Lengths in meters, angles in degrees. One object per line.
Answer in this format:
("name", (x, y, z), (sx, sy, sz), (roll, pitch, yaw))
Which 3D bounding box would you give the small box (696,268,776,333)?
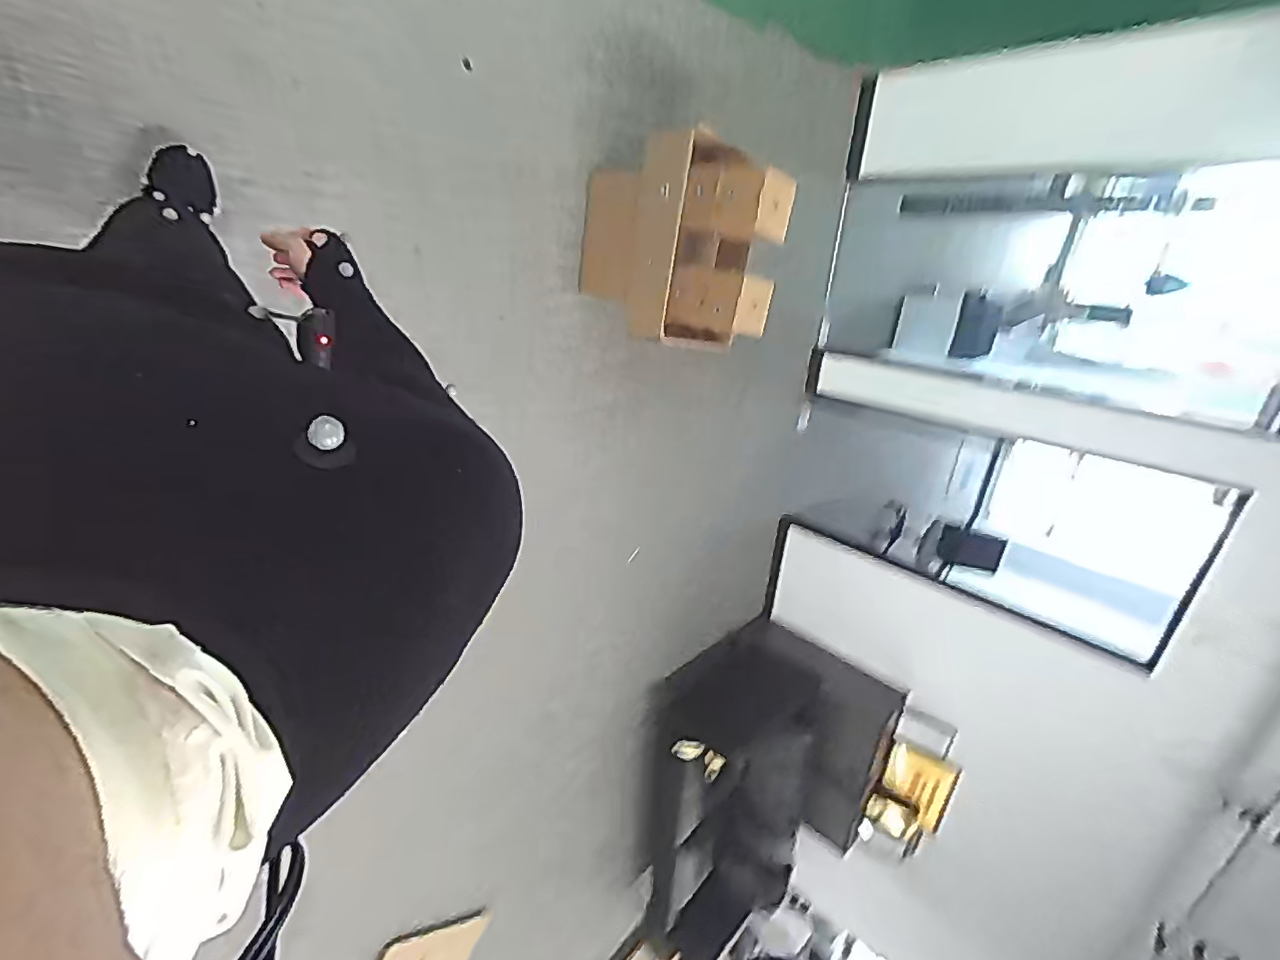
("small box", (0.300, -0.571, 1.714), (0.179, 0.176, 0.168), (-9, 116, -47))

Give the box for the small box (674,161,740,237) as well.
("small box", (0.229, -0.896, 1.733), (0.168, 0.176, 0.179), (-5, 113, -47))

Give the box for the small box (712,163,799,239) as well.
("small box", (0.347, -0.840, 1.633), (0.179, 0.176, 0.168), (-7, 115, -46))
